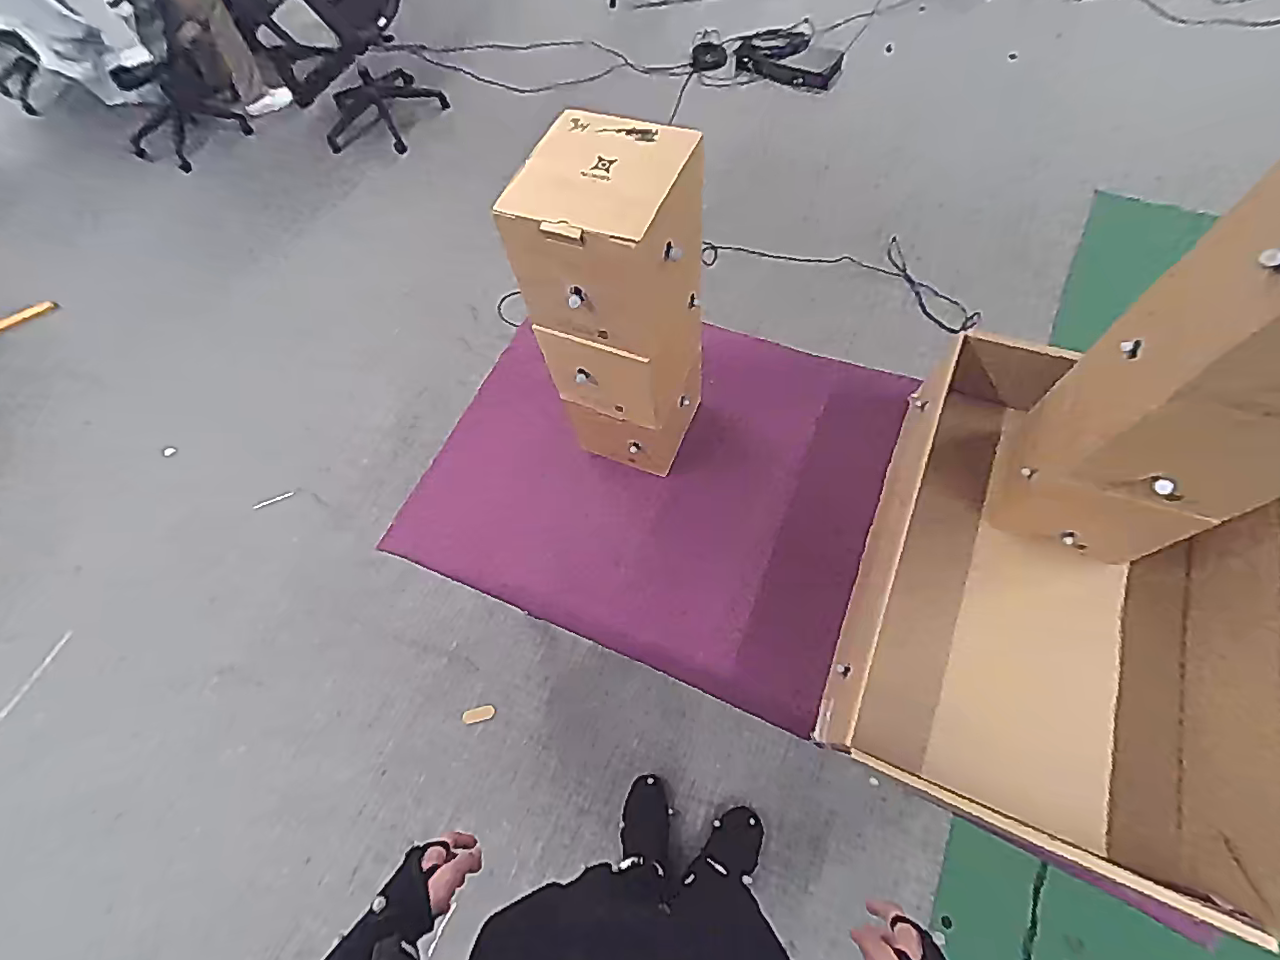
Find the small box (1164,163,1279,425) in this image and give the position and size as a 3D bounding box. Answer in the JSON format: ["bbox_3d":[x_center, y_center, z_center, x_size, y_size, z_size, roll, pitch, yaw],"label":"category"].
[{"bbox_3d":[0.572,-0.149,0.428,0.168,0.176,0.179,20,69,16],"label":"small box"}]

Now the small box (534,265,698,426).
[{"bbox_3d":[-0.021,-0.203,0.771,0.168,0.176,0.179,20,68,15],"label":"small box"}]

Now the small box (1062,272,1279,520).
[{"bbox_3d":[0.593,-0.083,0.578,0.168,0.176,0.179,18,70,16],"label":"small box"}]

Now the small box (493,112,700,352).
[{"bbox_3d":[-0.034,-0.278,0.625,0.168,0.176,0.179,20,69,14],"label":"small box"}]

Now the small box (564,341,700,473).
[{"bbox_3d":[-0.002,-0.137,0.918,0.168,0.176,0.179,21,68,15],"label":"small box"}]
